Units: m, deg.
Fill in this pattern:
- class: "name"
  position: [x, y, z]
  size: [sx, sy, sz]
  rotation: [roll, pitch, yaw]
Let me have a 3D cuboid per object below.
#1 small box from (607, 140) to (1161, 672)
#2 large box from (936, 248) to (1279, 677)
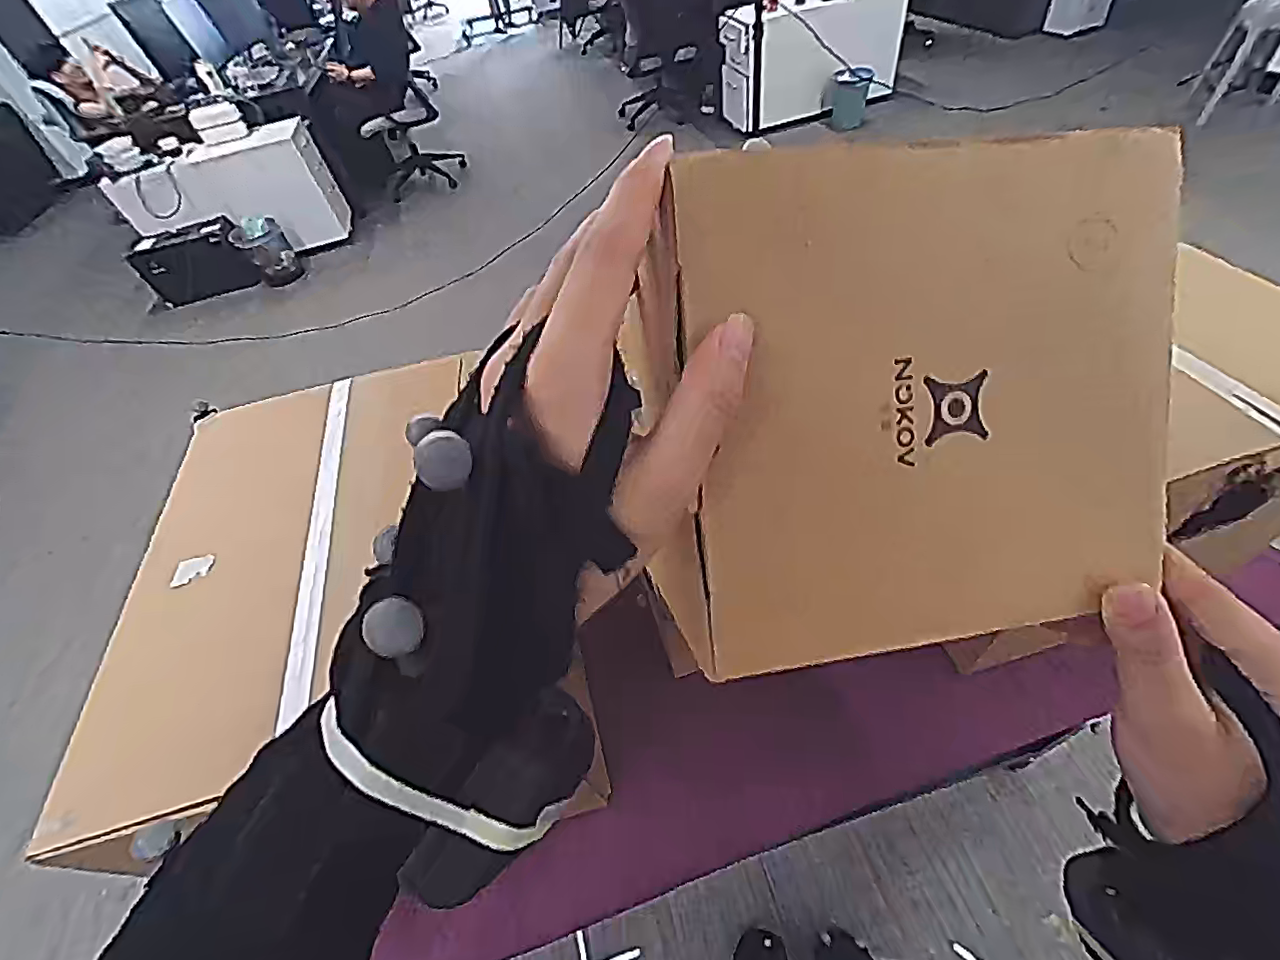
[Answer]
- class: "small box"
  position: [0.085, -0.036, 0.261]
  size: [0.179, 0.168, 0.176]
  rotation: [-8, 9, -7]
- class: "large box"
  position: [0.424, -0.058, 0.624]
  size: [0.320, 0.320, 0.408]
  rotation: [-17, 48, -4]
